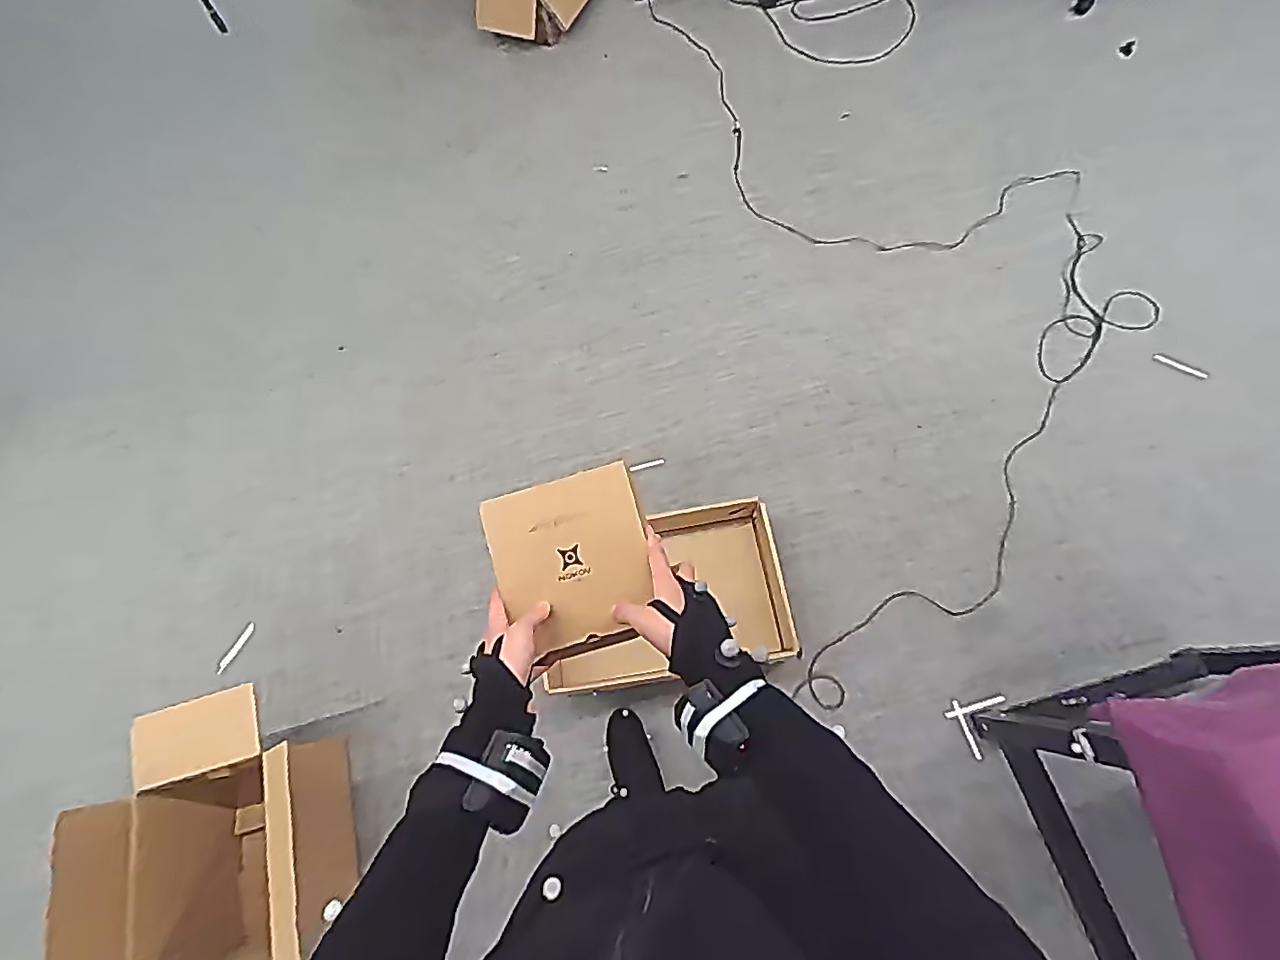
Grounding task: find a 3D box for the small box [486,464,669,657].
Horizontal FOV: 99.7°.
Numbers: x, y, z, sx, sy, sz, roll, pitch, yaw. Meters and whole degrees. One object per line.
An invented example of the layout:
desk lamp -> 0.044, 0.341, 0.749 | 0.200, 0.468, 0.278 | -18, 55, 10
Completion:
small box -> -0.063, 0.089, 0.652 | 0.168, 0.176, 0.179 | -15, 85, 1
